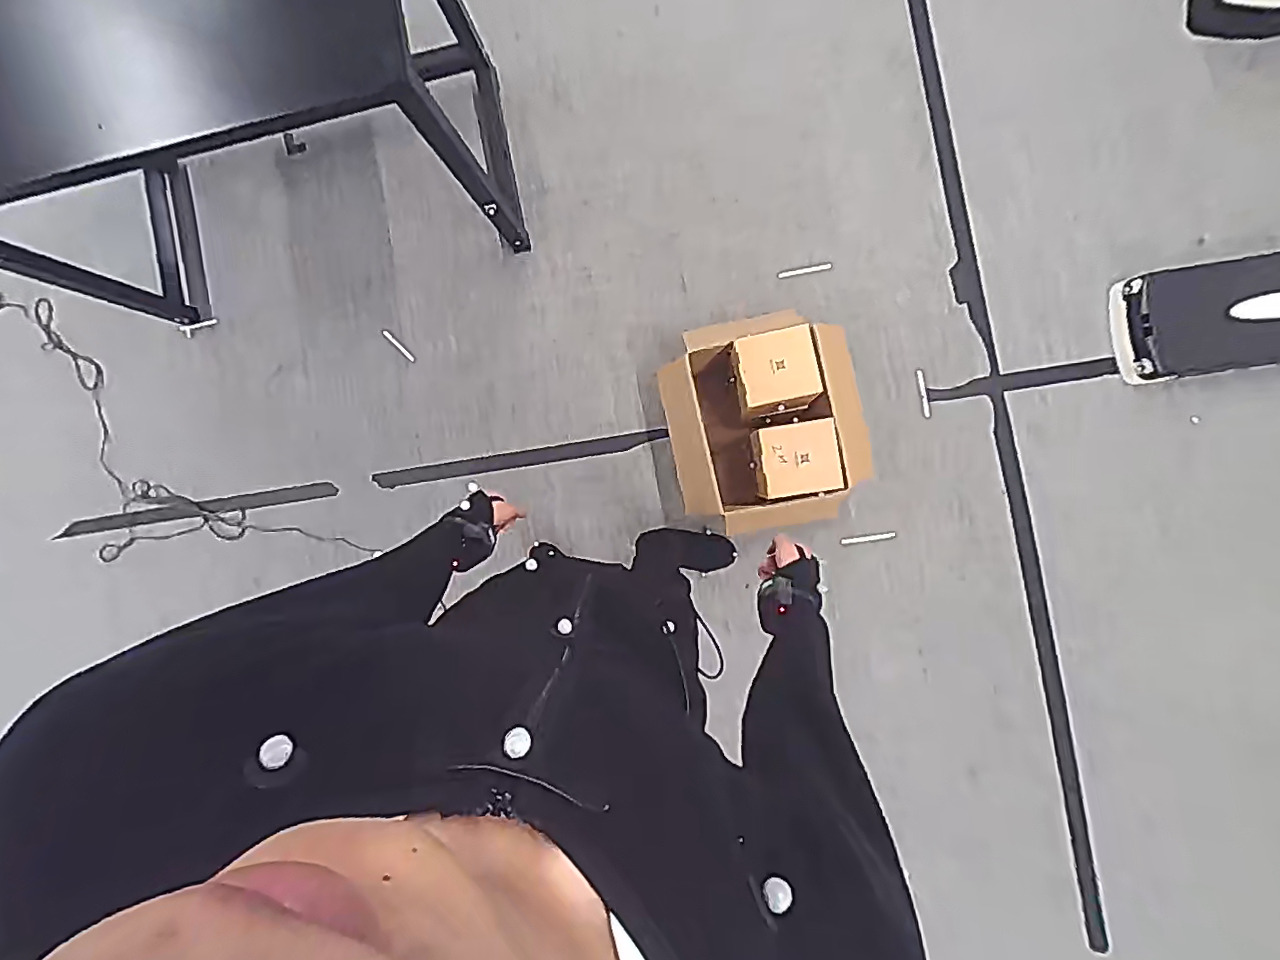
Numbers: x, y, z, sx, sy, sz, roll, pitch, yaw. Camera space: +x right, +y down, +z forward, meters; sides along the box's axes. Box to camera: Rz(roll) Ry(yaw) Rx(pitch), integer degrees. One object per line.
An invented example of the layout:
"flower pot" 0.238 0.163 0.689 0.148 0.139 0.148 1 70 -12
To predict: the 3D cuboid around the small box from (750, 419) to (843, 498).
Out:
"small box" 0.373 -0.050 1.313 0.179 0.176 0.168 -8 89 5
